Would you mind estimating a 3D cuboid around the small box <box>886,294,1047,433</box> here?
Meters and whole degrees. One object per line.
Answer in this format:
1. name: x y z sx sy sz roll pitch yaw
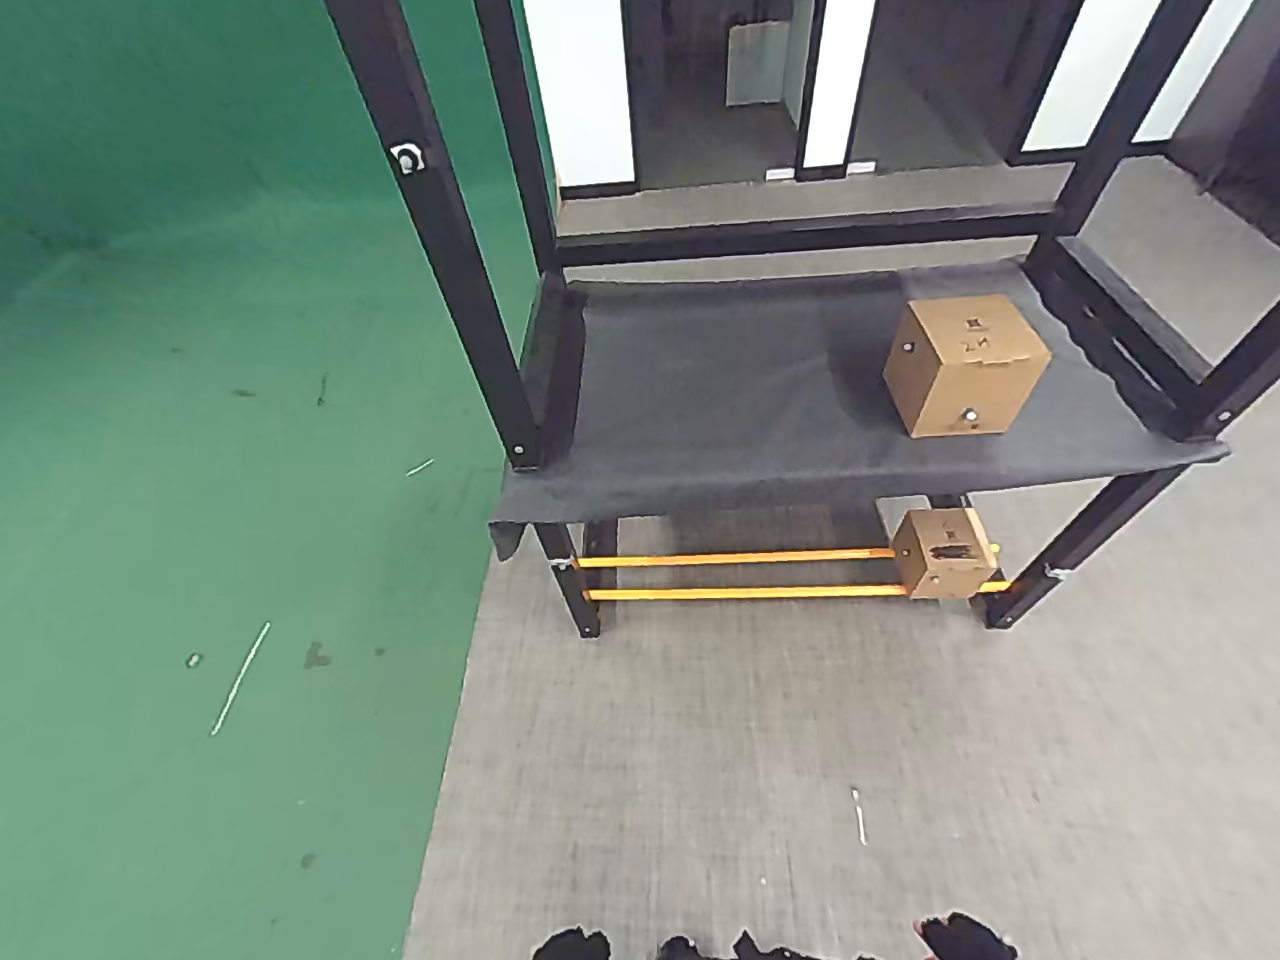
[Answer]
1. small box: 0.555 -0.202 0.952 0.168 0.176 0.179 -3 50 4
